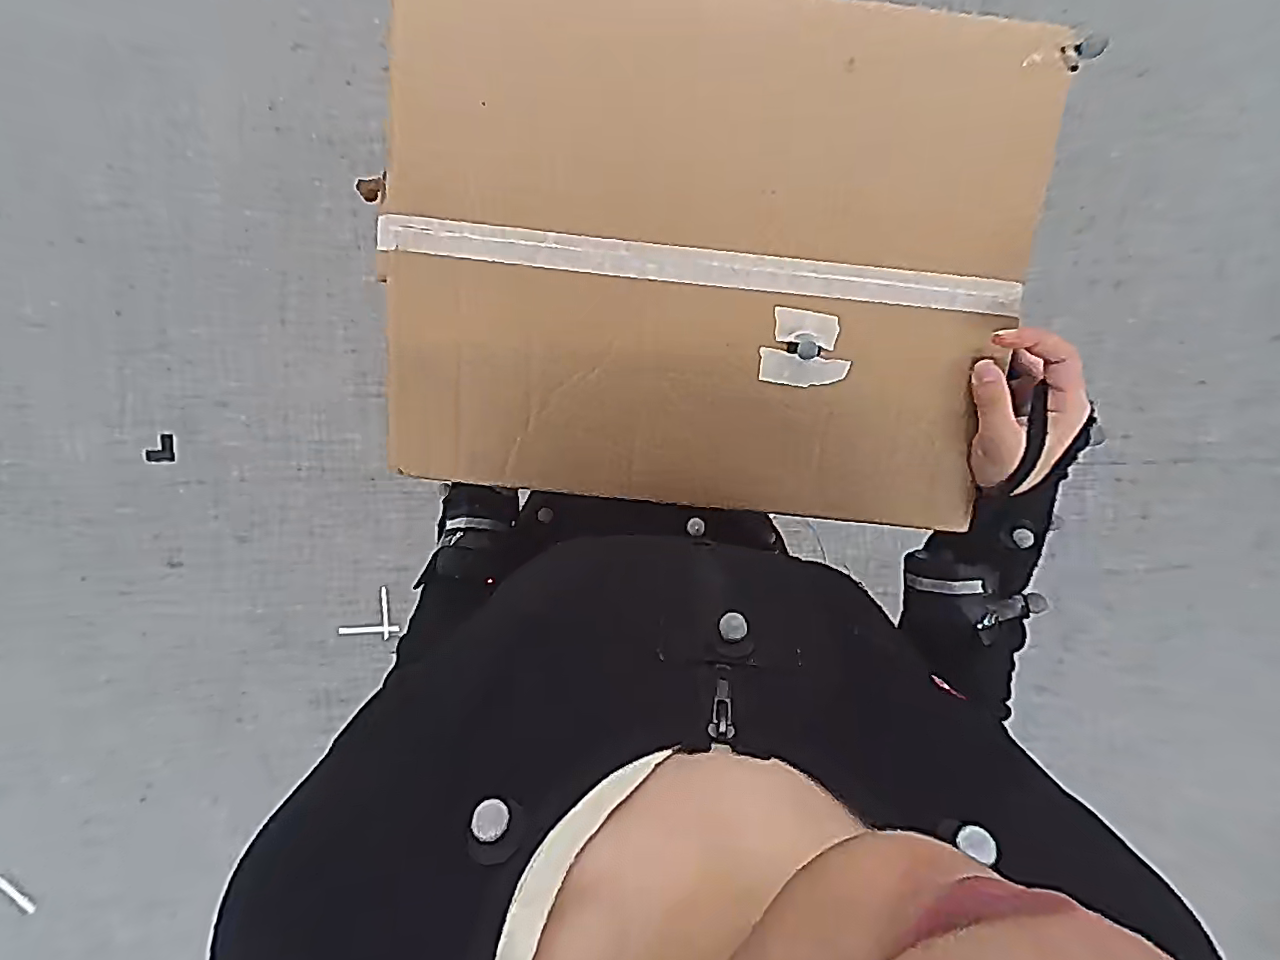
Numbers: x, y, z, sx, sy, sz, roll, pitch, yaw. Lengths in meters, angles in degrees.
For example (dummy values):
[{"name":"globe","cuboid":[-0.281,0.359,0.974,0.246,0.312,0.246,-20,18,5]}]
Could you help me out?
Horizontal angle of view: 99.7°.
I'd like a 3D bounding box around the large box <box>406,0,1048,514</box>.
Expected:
[{"name":"large box","cuboid":[0.042,-0.165,0.502,0.408,0.320,0.320,5,101,-3]}]
